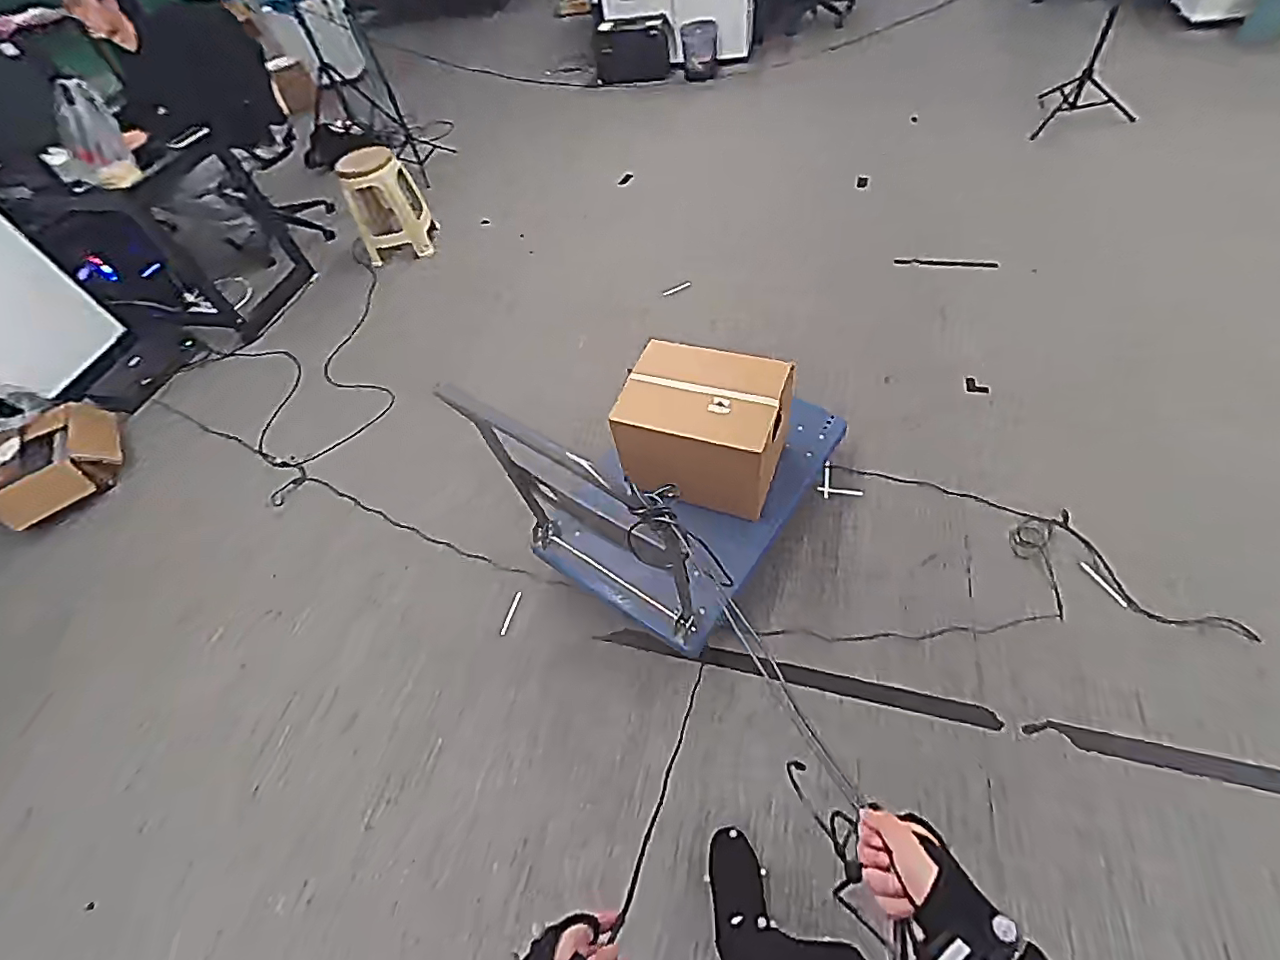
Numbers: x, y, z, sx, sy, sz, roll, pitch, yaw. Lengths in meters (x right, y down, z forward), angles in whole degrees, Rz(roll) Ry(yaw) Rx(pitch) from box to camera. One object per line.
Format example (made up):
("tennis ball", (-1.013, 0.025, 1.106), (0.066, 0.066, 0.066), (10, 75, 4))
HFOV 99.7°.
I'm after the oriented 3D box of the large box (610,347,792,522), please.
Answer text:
("large box", (0.174, -0.128, 1.505), (0.408, 0.320, 0.320), (15, 58, 19))
